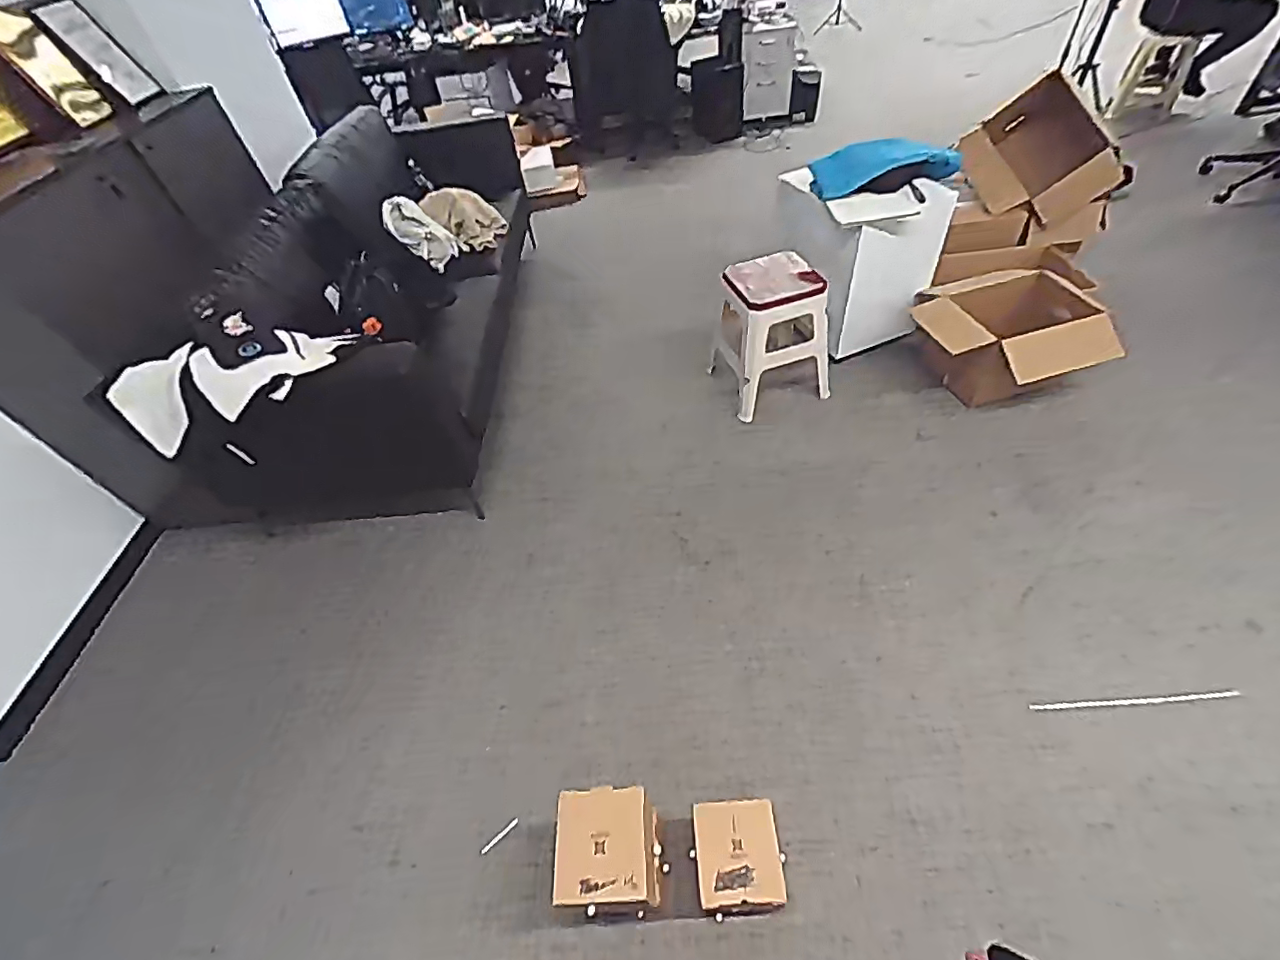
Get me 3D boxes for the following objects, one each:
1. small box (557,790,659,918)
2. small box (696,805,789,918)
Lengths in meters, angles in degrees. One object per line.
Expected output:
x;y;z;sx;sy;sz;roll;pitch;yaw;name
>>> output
-0.054;0.715;1.033;0.168;0.176;0.179;-6;46;5;small box
0.210;0.801;1.131;0.168;0.176;0.179;-6;47;4;small box
